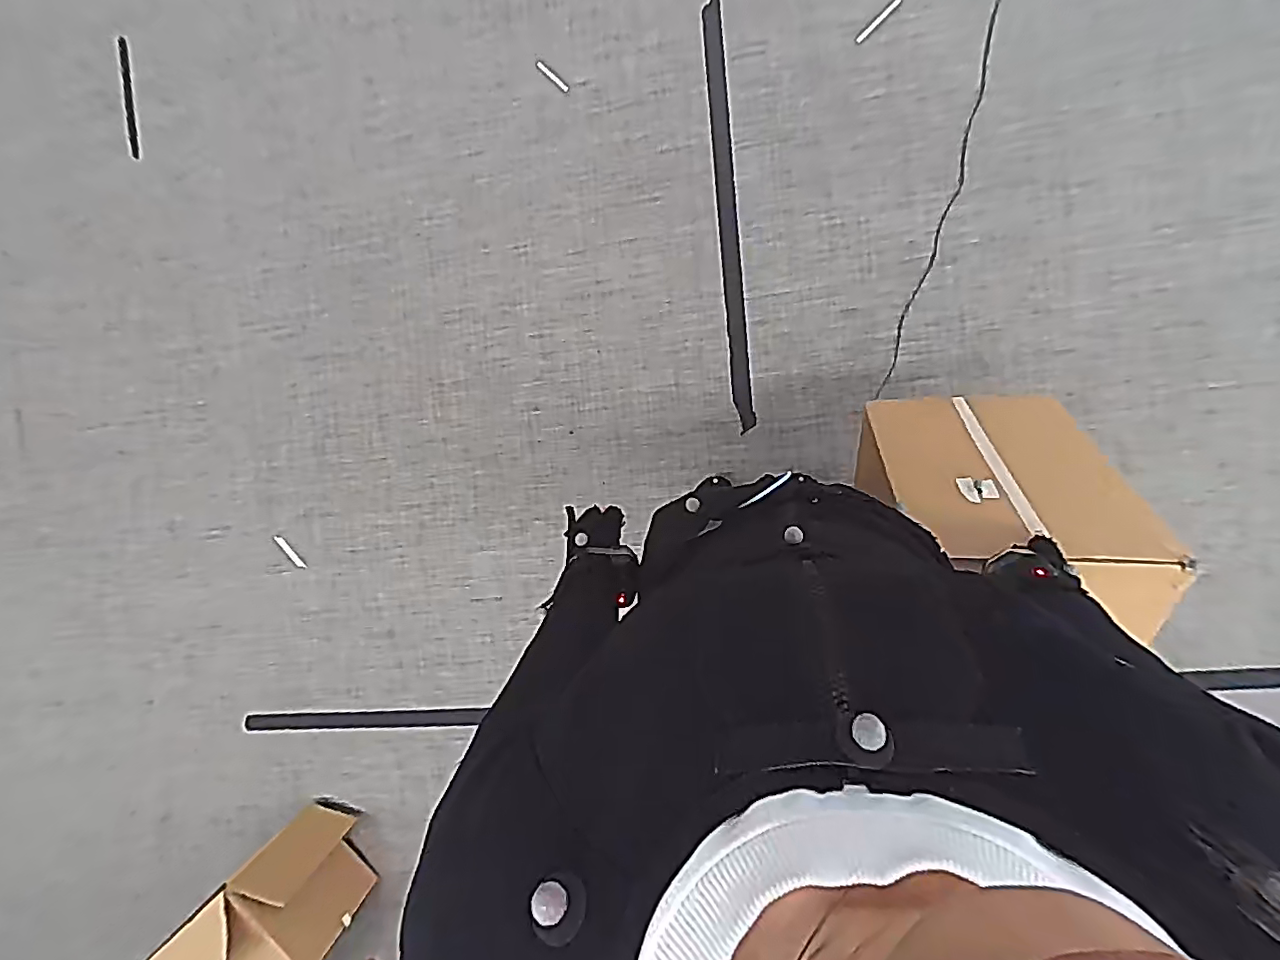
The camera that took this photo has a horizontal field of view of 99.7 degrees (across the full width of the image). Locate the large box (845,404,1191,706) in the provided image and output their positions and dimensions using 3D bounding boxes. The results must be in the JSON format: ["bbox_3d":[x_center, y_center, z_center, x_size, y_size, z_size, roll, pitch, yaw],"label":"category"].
[{"bbox_3d":[0.553,0.107,0.914,0.320,0.408,0.320,-1,128,12],"label":"large box"}]
